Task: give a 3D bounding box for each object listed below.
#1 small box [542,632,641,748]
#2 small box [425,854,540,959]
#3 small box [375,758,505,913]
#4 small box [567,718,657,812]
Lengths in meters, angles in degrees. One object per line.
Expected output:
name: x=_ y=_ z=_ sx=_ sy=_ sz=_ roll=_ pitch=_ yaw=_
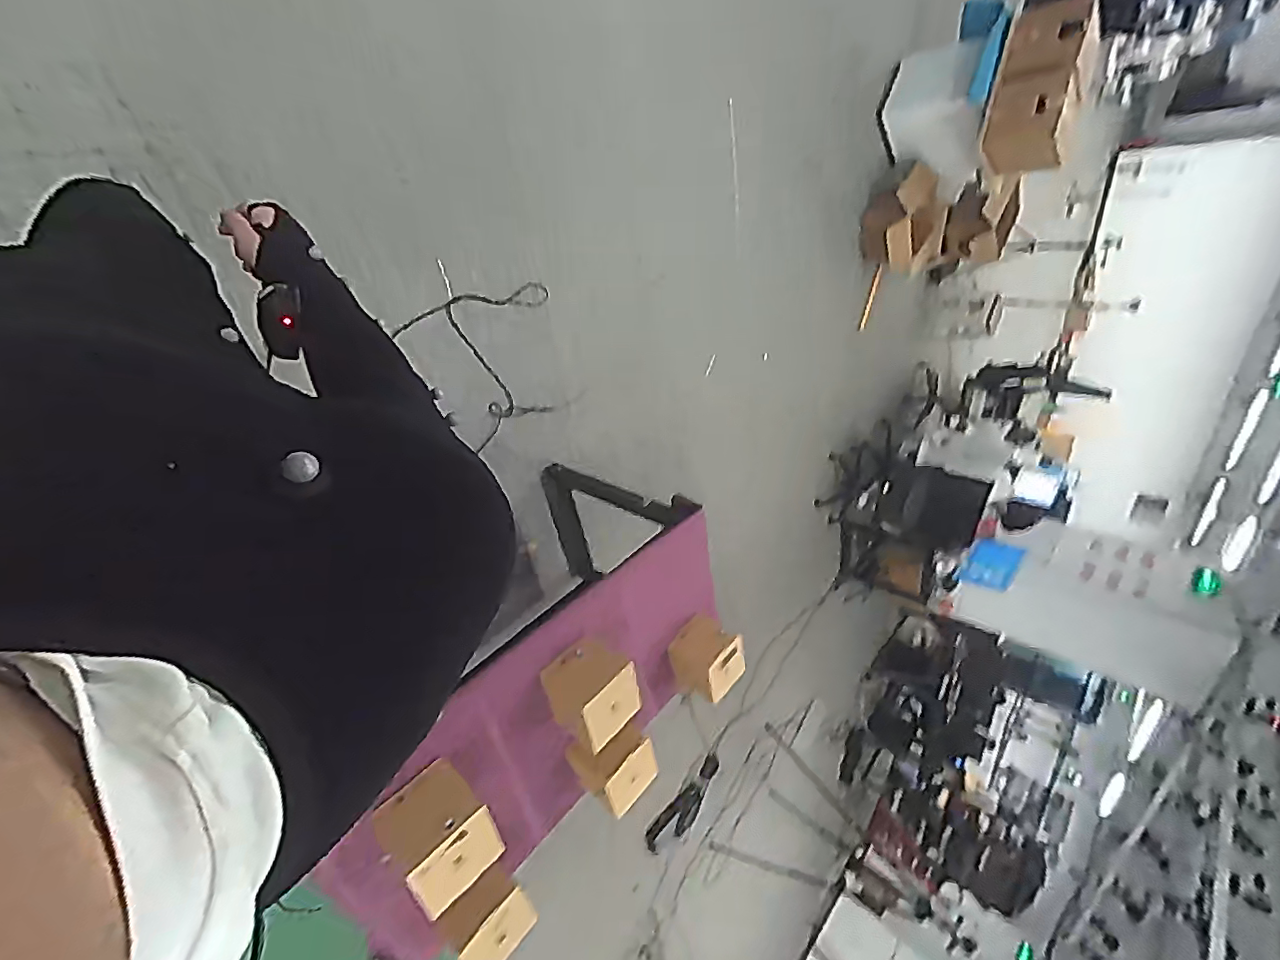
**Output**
small box: x=-0.122 y=0.518 z=1.358 sx=0.168 sy=0.176 sz=0.179 roll=-35 pitch=129 yaw=-36
small box: x=-0.367 y=0.992 z=1.263 sx=0.168 sy=0.176 sz=0.179 roll=-38 pitch=130 yaw=-37
small box: x=-0.409 y=0.718 z=1.109 sx=0.168 sy=0.176 sz=0.179 roll=-34 pitch=130 yaw=-38
small box: x=-0.078 y=0.770 z=1.512 sx=0.168 sy=0.176 sz=0.179 roll=-36 pitch=128 yaw=-34
